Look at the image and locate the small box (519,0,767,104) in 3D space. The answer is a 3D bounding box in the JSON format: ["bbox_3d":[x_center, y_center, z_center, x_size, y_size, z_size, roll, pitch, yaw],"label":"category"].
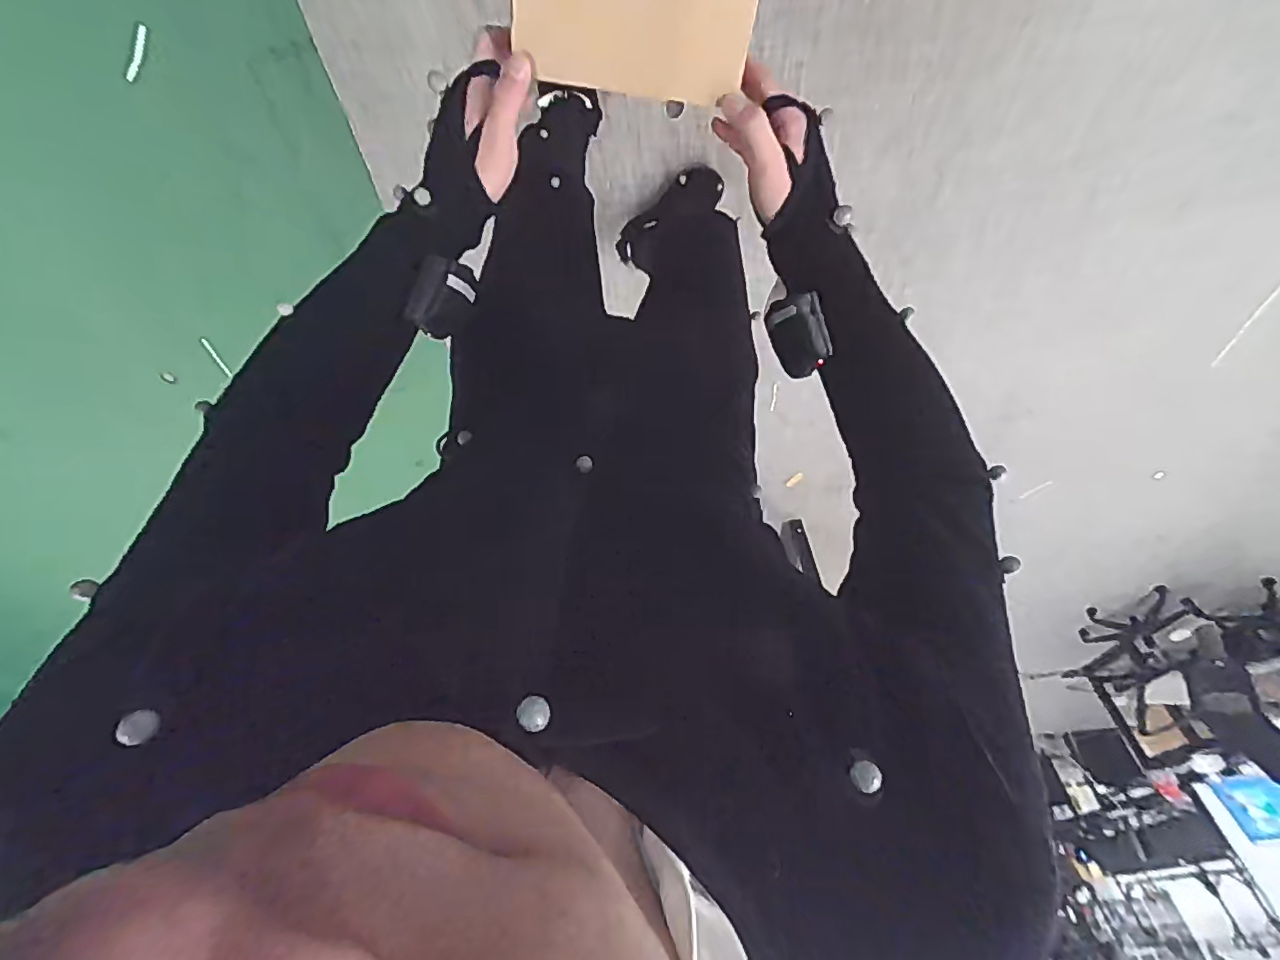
[{"bbox_3d":[0.008,-0.415,0.412,0.179,0.176,0.168,7,135,-4],"label":"small box"}]
